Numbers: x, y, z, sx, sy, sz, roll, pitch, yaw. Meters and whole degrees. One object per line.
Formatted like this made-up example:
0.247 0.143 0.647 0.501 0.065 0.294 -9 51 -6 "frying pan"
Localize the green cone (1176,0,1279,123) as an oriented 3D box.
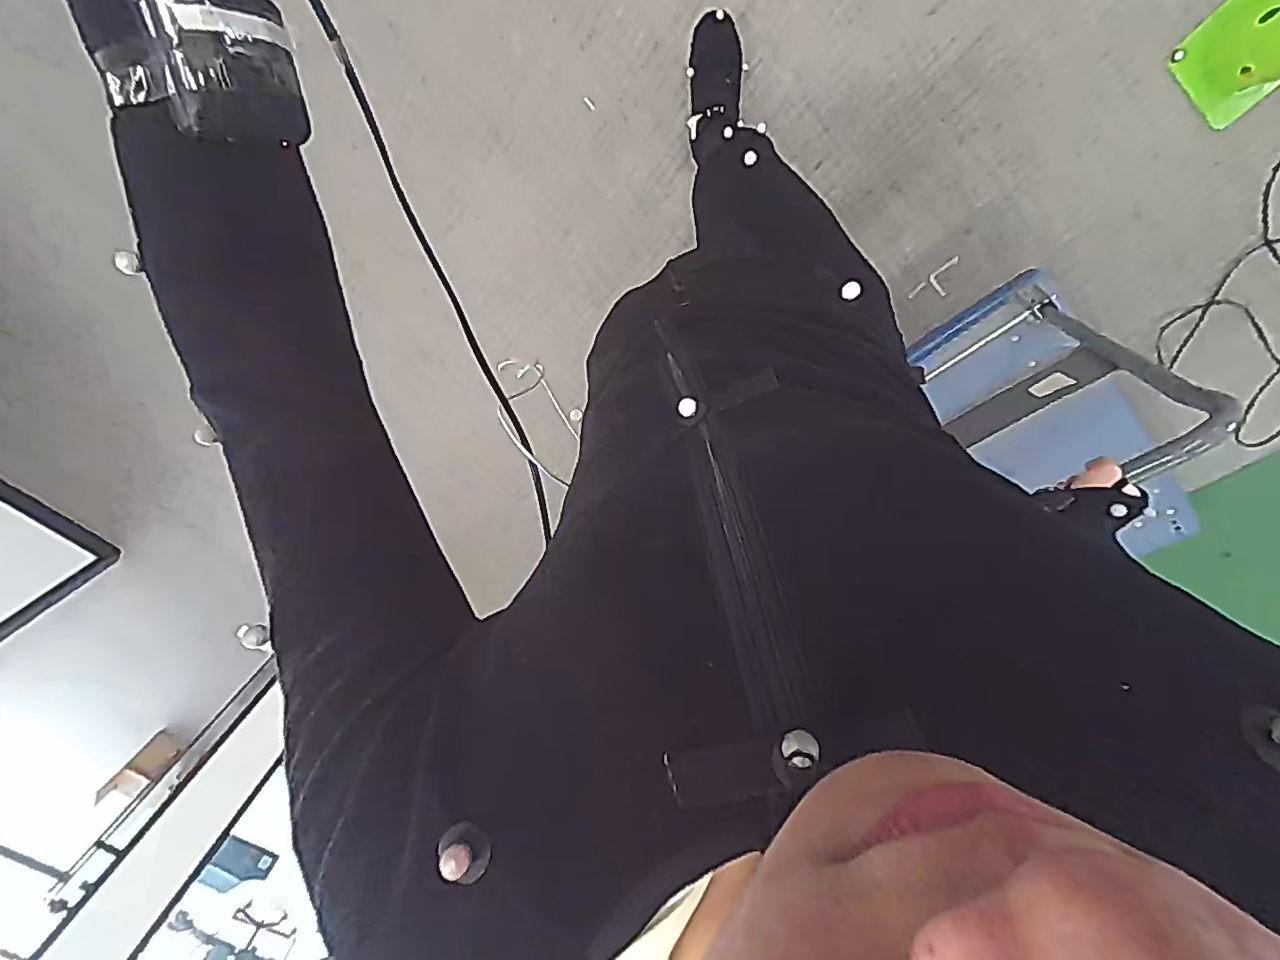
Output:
1.132 -0.733 0.872 0.200 0.368 0.202 37 121 -12 "green cone"
